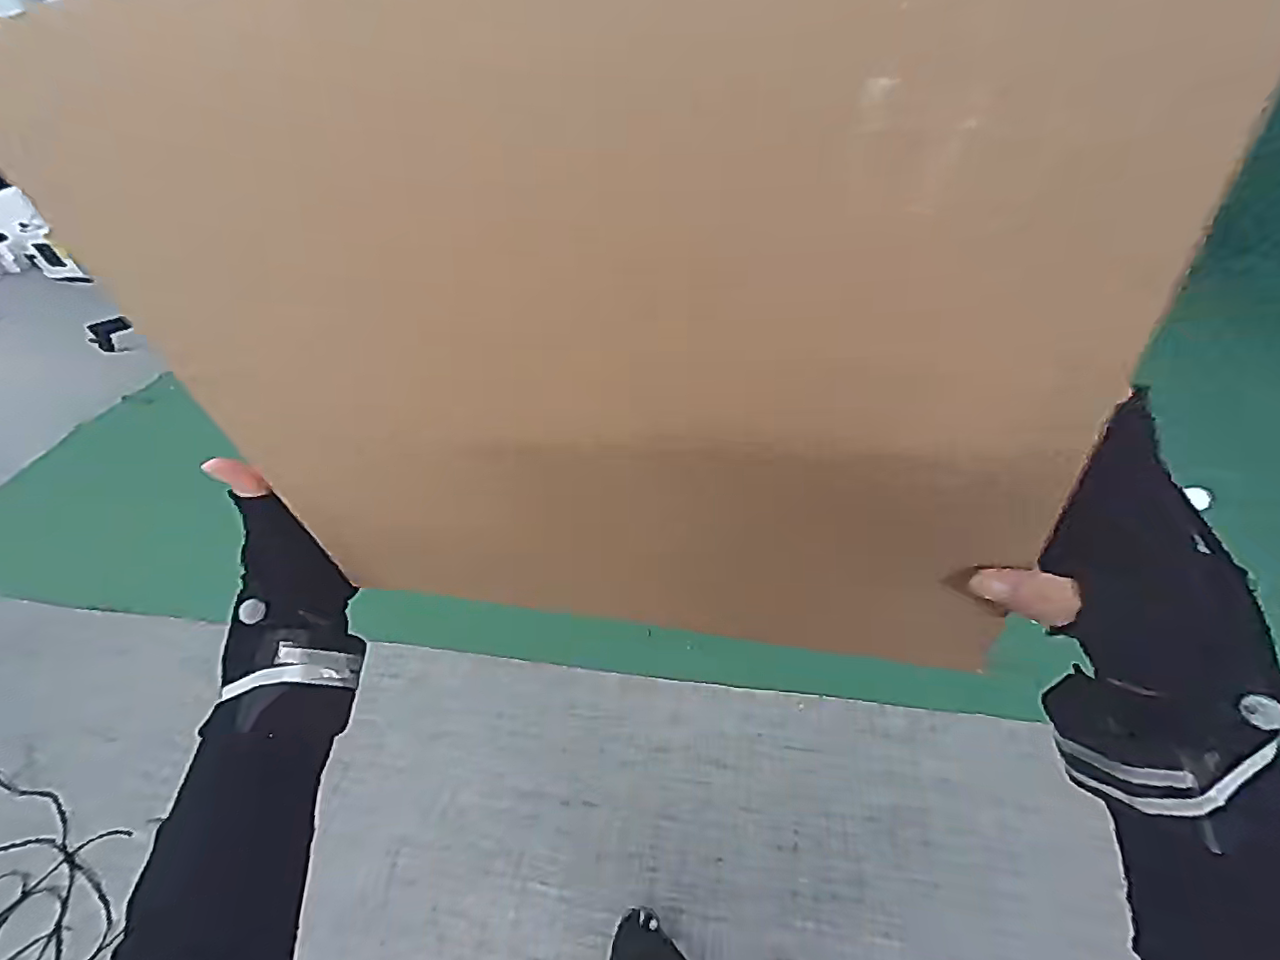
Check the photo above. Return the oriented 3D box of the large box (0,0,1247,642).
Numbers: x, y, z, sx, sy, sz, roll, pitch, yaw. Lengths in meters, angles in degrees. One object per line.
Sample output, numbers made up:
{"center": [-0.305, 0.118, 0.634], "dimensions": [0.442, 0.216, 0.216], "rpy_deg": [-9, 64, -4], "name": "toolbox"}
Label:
{"center": [-0.002, -0.129, 0.353], "dimensions": [0.408, 0.320, 0.320], "rpy_deg": [4, 45, 17], "name": "large box"}
